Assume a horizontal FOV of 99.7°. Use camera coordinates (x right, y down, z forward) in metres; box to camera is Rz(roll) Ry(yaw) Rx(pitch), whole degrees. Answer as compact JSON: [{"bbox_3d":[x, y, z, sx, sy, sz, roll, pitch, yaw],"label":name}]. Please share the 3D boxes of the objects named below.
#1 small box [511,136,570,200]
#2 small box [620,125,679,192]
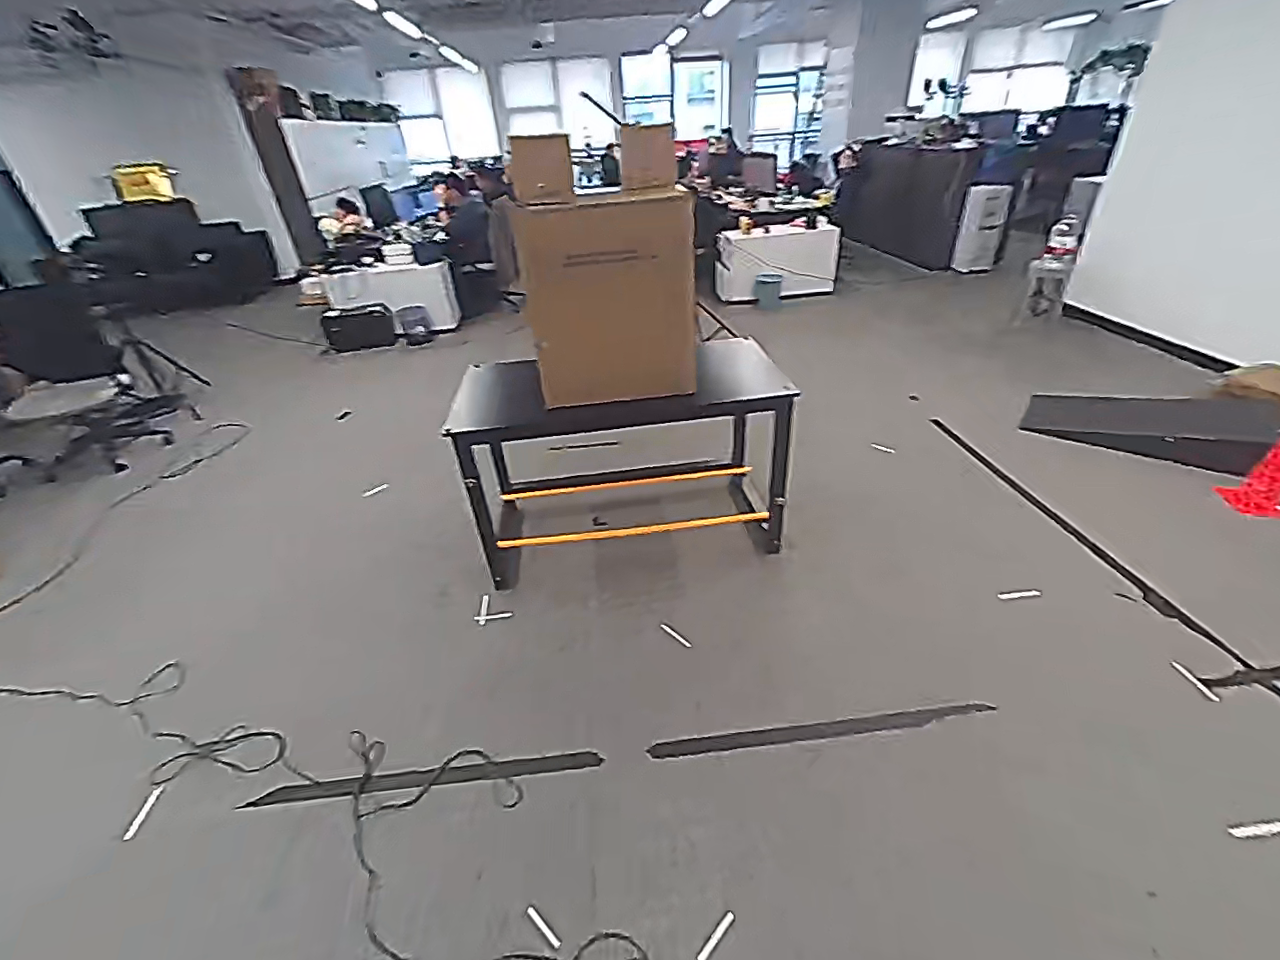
[{"bbox_3d":[-0.320,-1.002,1.738,0.168,0.176,0.179,-9,32,-8],"label":"small box"},{"bbox_3d":[0.029,-1.031,1.737,0.168,0.176,0.179,-8,32,-2],"label":"small box"}]
